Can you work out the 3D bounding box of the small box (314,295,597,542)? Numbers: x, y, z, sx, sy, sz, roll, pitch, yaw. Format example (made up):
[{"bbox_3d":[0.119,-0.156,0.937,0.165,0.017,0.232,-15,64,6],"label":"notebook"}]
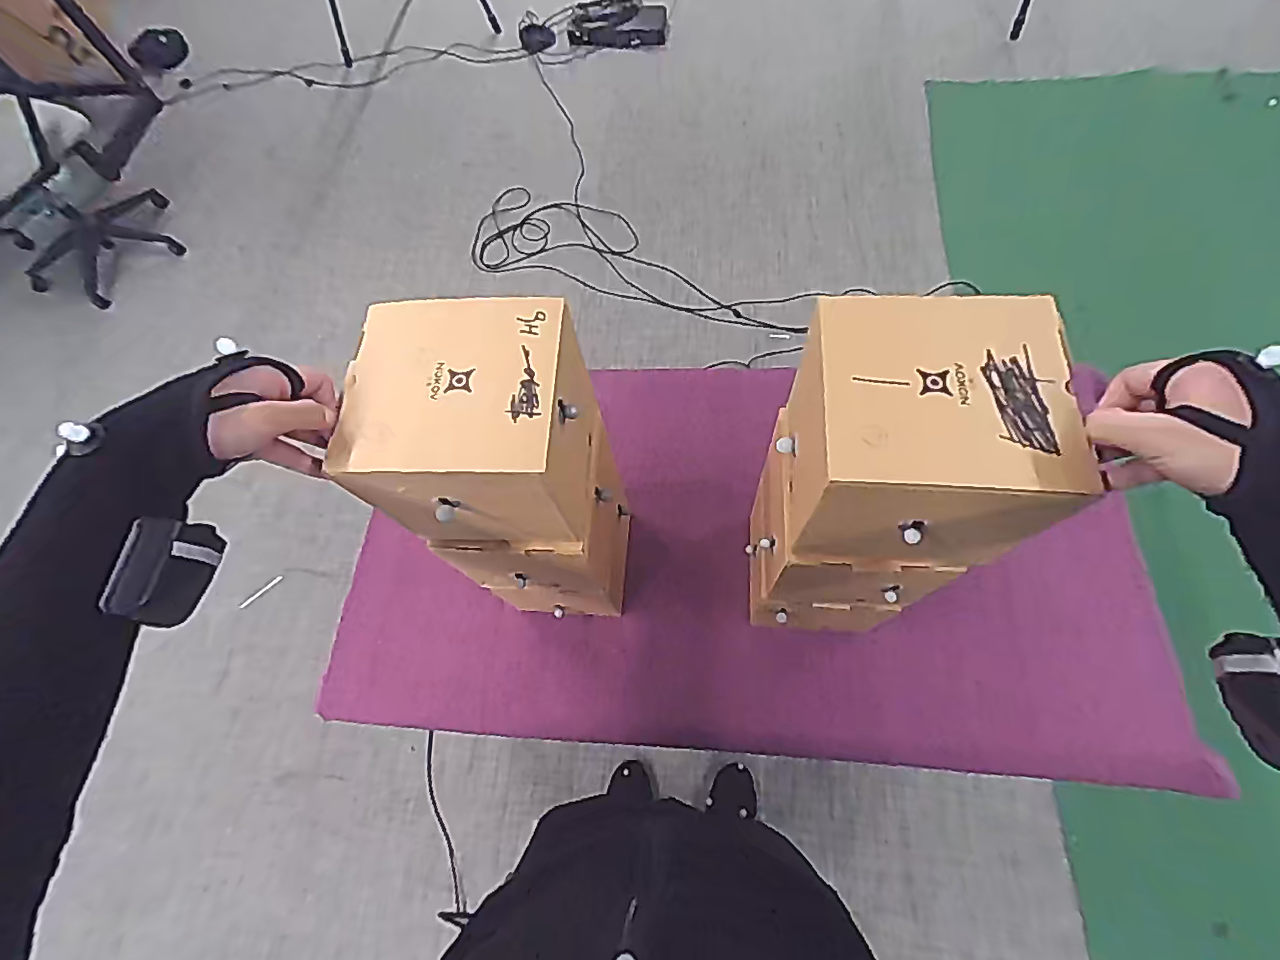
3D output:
[{"bbox_3d":[-0.144,-0.046,0.495,0.179,0.176,0.168,0,66,6],"label":"small box"}]

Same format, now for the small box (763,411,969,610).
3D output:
[{"bbox_3d":[0.230,0.041,0.601,0.168,0.176,0.179,2,65,6],"label":"small box"}]

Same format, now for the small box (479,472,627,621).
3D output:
[{"bbox_3d":[-0.113,0.097,0.788,0.168,0.176,0.179,2,66,7],"label":"small box"}]

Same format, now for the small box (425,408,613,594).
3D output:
[{"bbox_3d":[-0.126,0.028,0.642,0.168,0.176,0.179,1,66,5],"label":"small box"}]
